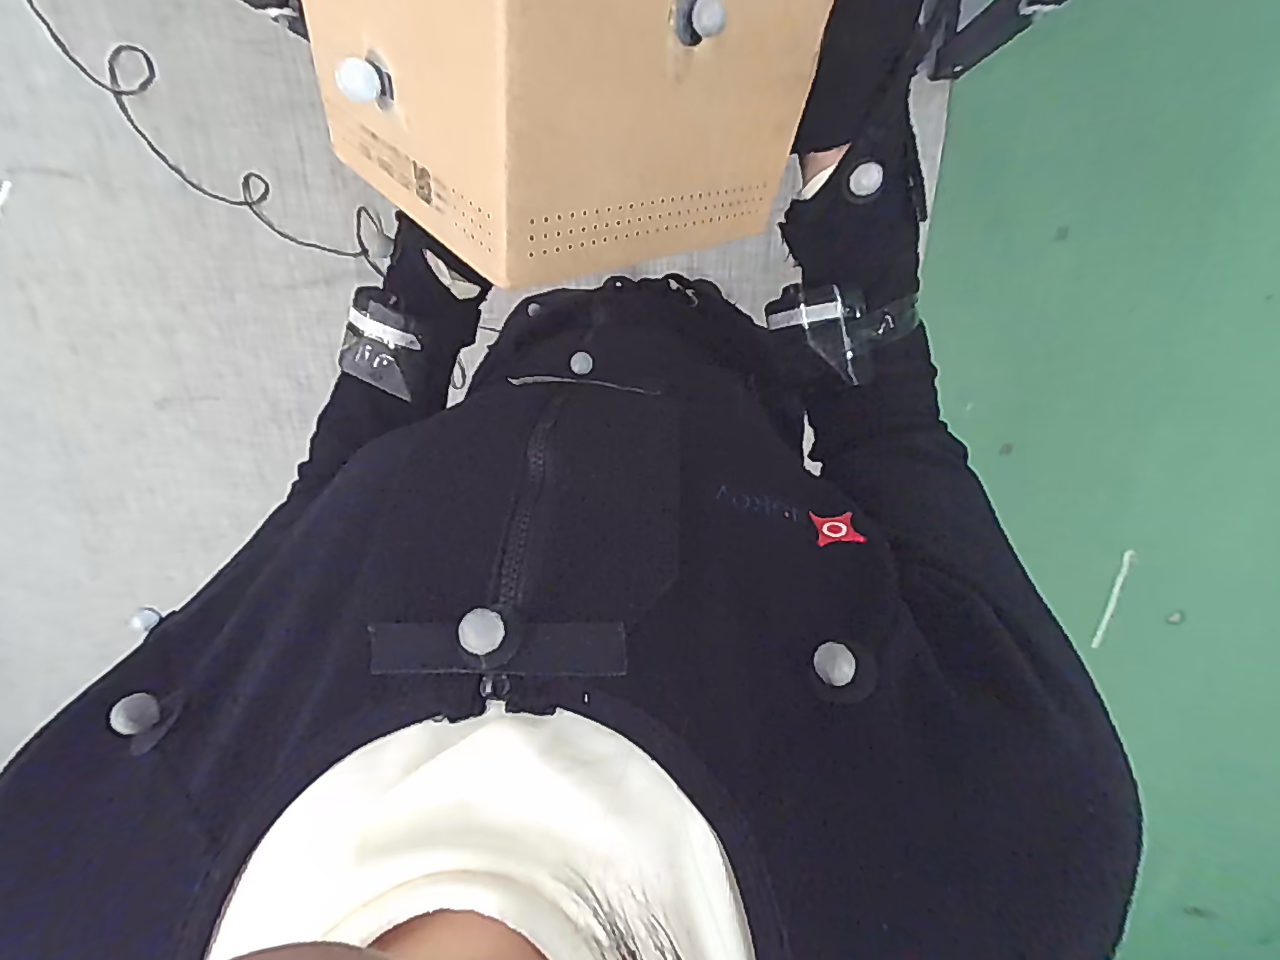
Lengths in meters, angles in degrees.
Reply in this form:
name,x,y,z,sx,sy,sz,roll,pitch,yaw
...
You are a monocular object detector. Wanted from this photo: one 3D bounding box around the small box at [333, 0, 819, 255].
name,x,y,z,sx,sy,sz,roll,pitch,yaw
small box,-0.031,-0.228,0.251,0.168,0.179,0.176,42,142,27
